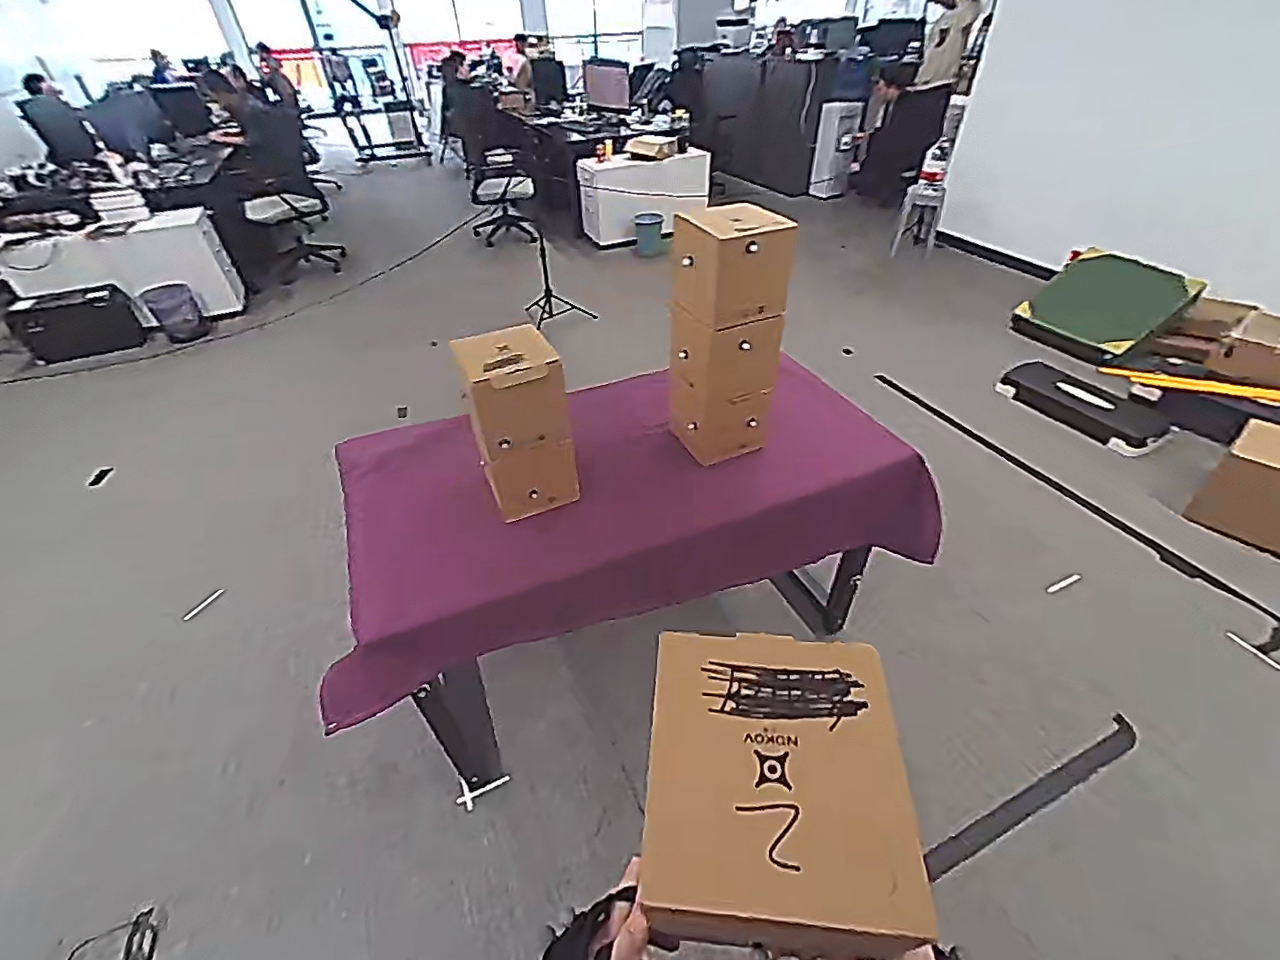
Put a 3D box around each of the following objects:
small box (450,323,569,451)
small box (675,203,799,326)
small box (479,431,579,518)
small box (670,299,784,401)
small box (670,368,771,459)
[{"bbox_3d":[-0.244,-0.172,1.033,0.168,0.176,0.179,-19,44,-19],"label":"small box"},{"bbox_3d":[0.174,-0.415,1.041,0.168,0.176,0.179,-18,43,-17],"label":"small box"},{"bbox_3d":[-0.238,-0.049,1.141,0.168,0.176,0.179,-18,45,-18],"label":"small box"},{"bbox_3d":[0.176,-0.288,1.144,0.179,0.176,0.168,-18,45,-18],"label":"small box"},{"bbox_3d":[0.180,-0.166,1.255,0.168,0.176,0.179,-18,43,-17],"label":"small box"}]
